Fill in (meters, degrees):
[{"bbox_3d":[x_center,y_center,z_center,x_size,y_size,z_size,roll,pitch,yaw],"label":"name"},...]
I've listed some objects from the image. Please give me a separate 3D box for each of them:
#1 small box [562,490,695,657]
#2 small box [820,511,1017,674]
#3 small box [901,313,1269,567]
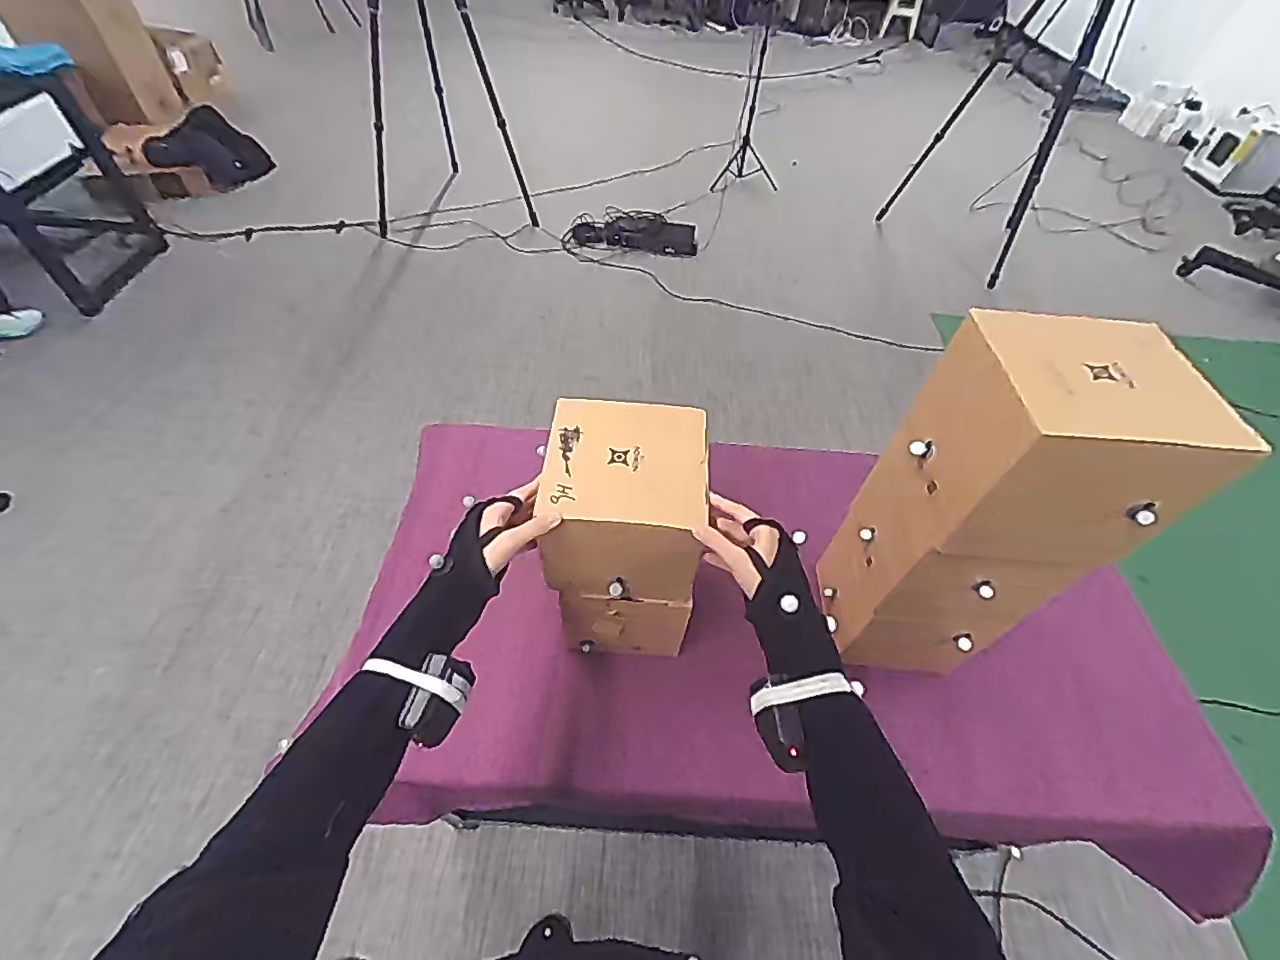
[{"bbox_3d":[-0.013,0.137,0.771,0.168,0.176,0.179,5,50,-1],"label":"small box"},{"bbox_3d":[0.379,0.166,0.774,0.179,0.176,0.168,5,50,0],"label":"small box"},{"bbox_3d":[0.383,-0.032,0.512,0.179,0.176,0.168,5,50,0],"label":"small box"}]
